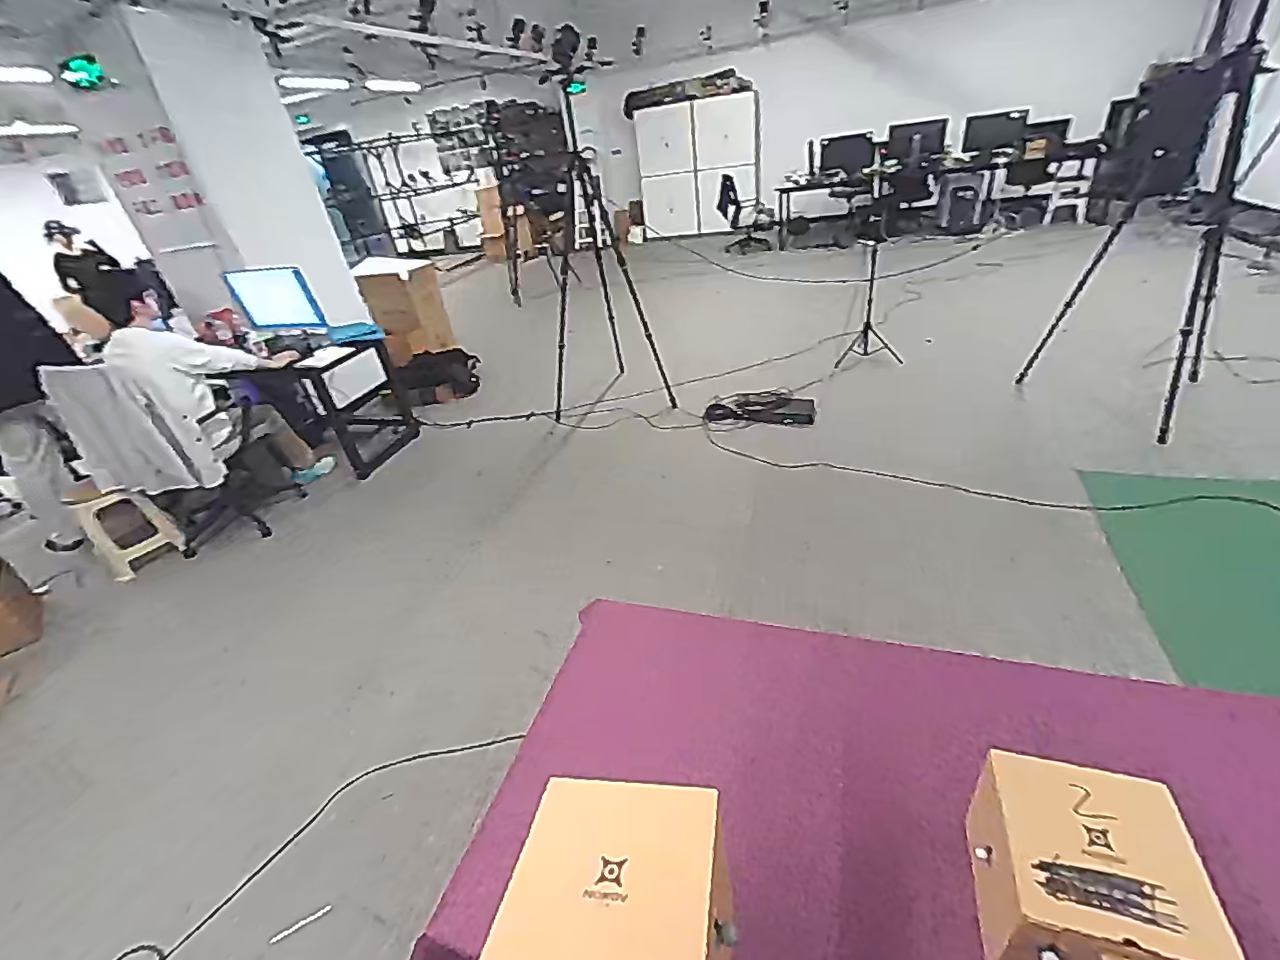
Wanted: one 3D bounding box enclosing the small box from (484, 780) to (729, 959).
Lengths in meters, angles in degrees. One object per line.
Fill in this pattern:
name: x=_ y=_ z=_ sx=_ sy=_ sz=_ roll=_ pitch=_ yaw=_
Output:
small box: x=-0.013 y=0.405 z=0.476 sx=0.168 sy=0.176 sz=0.179 roll=-4 pitch=22 yaw=14
